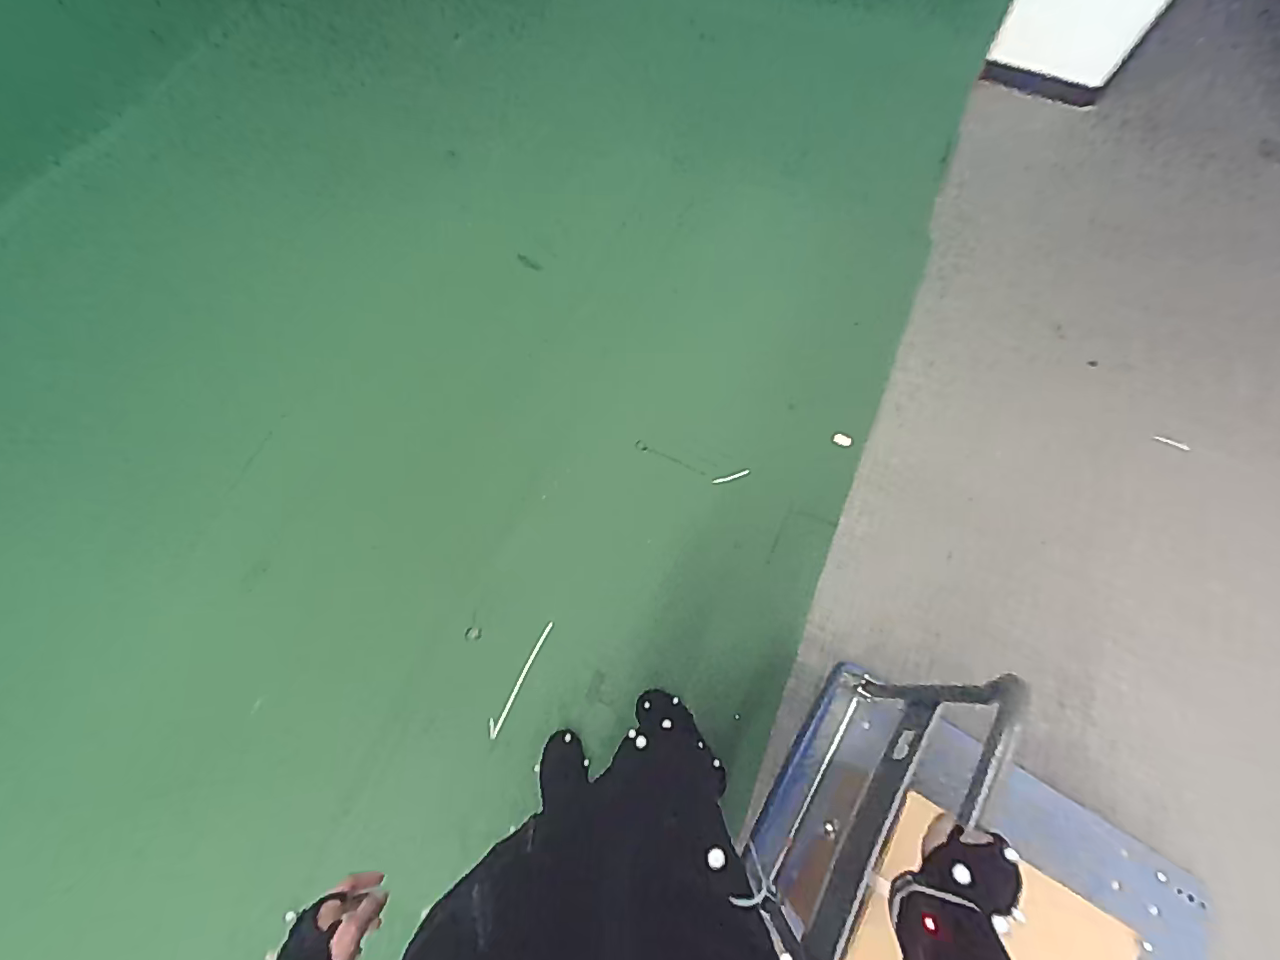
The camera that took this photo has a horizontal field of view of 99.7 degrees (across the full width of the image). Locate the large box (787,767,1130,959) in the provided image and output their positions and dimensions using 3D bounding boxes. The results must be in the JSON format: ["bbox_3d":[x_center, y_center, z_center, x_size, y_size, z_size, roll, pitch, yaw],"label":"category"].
[{"bbox_3d":[0.550,0.804,1.004,0.408,0.320,0.320,30,73,9],"label":"large box"}]
